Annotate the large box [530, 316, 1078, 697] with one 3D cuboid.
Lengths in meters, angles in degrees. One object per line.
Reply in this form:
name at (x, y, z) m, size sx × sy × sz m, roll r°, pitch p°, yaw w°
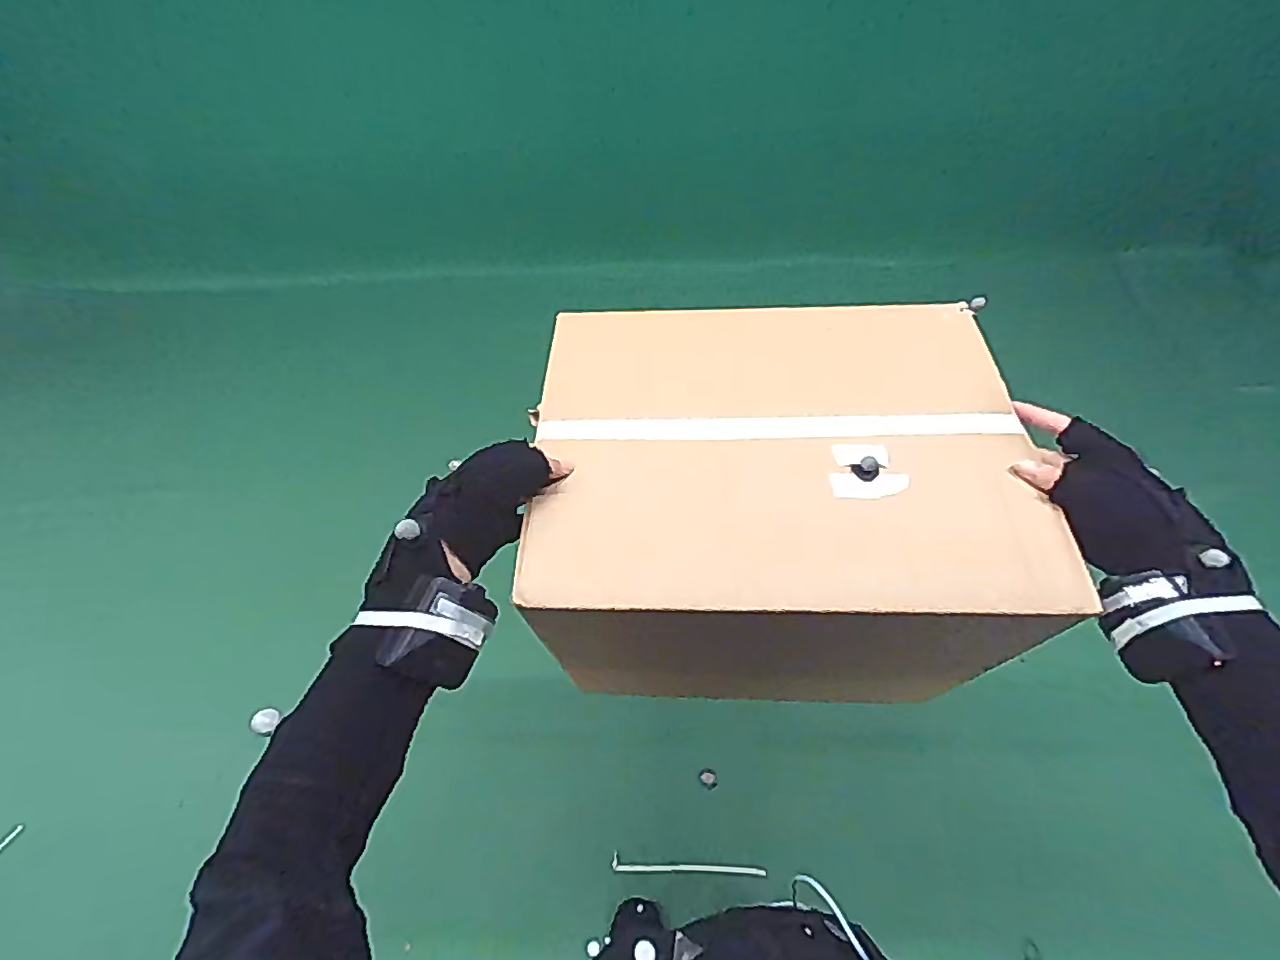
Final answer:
large box at (0.122, 0.044, 0.595) m, size 0.408 × 0.320 × 0.320 m, roll 0°, pitch 57°, yaw 3°
